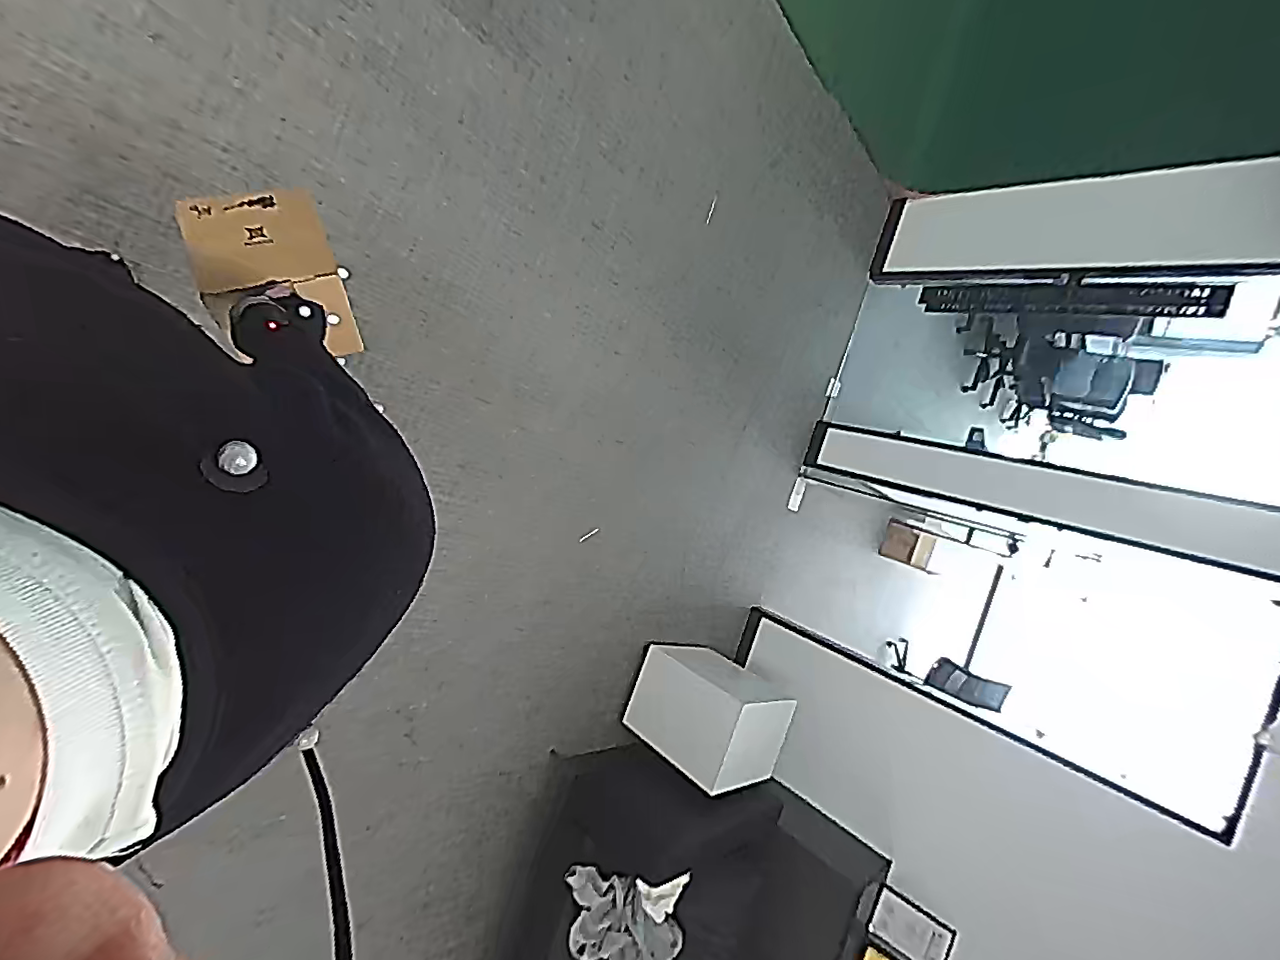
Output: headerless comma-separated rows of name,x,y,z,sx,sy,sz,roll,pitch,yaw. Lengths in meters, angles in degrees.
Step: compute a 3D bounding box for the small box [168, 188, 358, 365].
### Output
small box,-0.547,-0.294,0.808,0.168,0.179,0.176,-23,163,-23
